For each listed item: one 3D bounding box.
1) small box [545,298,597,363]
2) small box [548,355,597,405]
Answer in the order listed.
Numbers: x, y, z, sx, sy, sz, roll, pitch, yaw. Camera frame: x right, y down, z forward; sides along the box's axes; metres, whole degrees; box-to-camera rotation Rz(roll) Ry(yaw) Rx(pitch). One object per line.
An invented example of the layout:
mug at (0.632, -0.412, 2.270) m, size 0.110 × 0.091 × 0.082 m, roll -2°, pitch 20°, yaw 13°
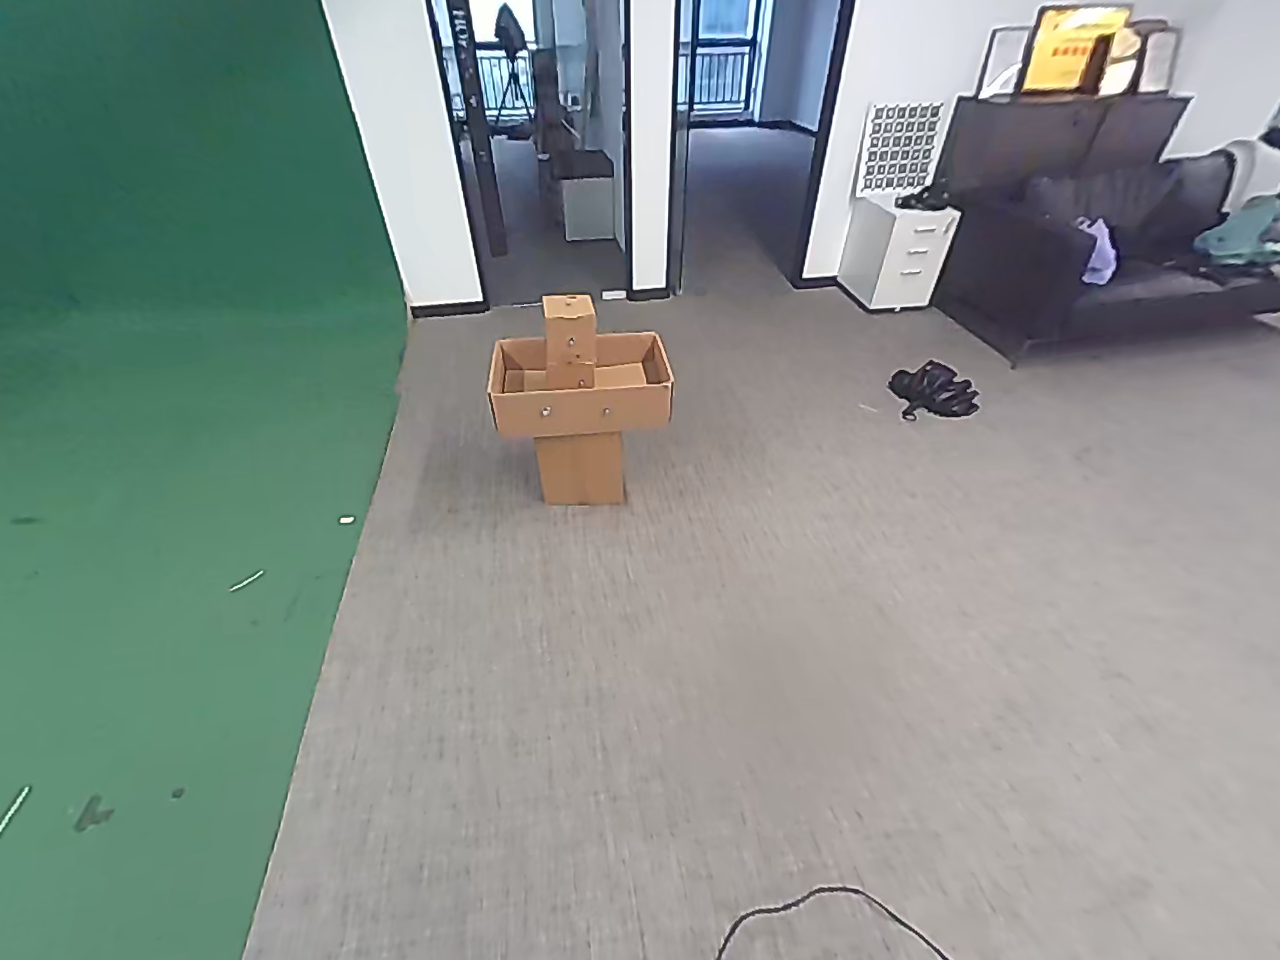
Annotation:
small box at (-0.239, -0.514, 1.870) m, size 0.168 × 0.176 × 0.179 m, roll -5°, pitch 41°, yaw -10°
small box at (-0.246, -0.384, 1.969) m, size 0.168 × 0.176 × 0.179 m, roll -3°, pitch 39°, yaw -8°
